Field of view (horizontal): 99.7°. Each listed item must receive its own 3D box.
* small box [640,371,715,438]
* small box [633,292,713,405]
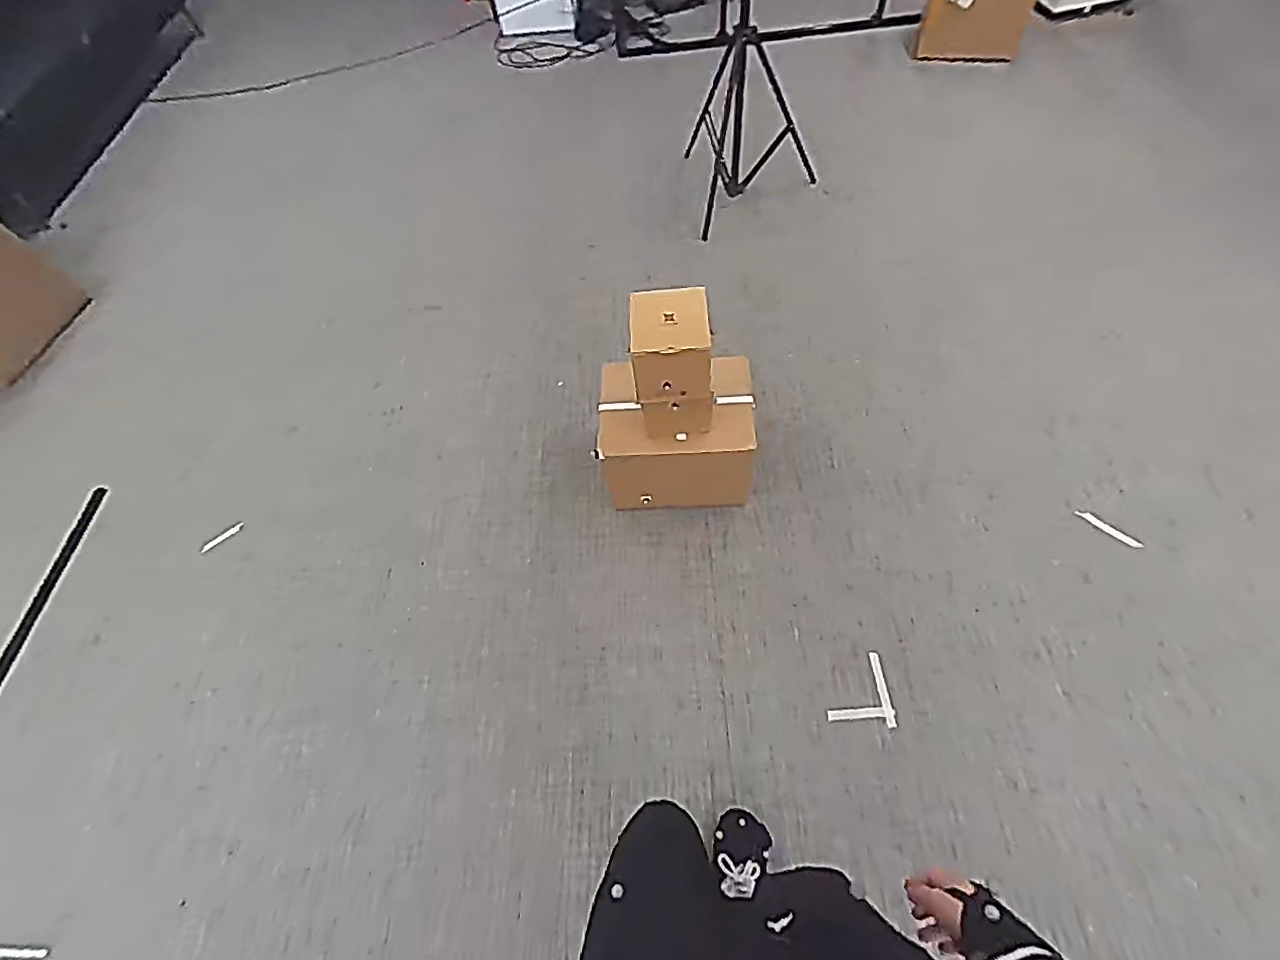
[{"bbox_3d":[0.092,-0.218,1.350,0.179,0.176,0.168,-4,61,3],"label":"small box"},{"bbox_3d":[0.073,-0.289,1.206,0.168,0.176,0.179,-4,62,4],"label":"small box"}]
